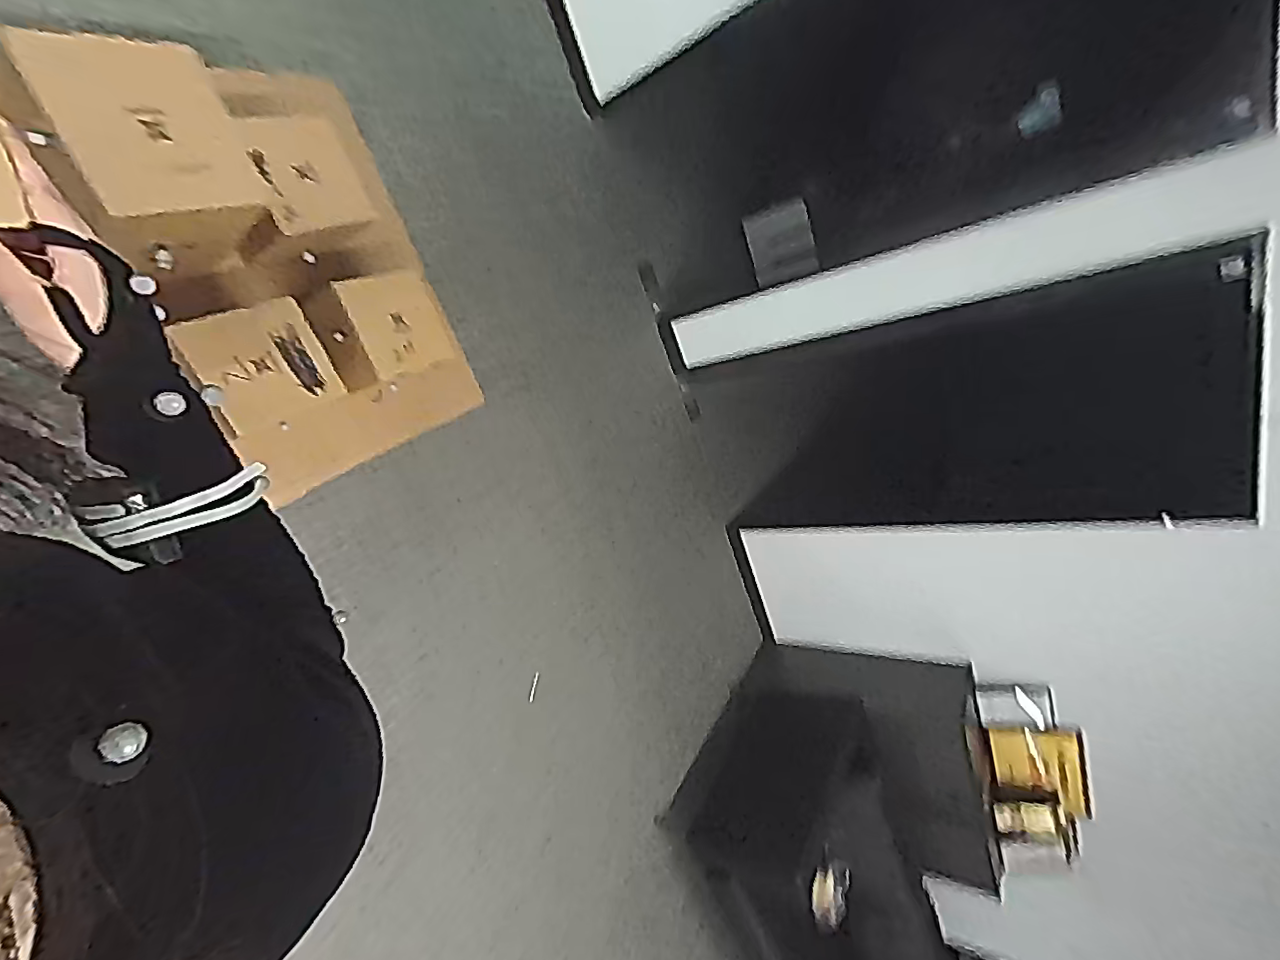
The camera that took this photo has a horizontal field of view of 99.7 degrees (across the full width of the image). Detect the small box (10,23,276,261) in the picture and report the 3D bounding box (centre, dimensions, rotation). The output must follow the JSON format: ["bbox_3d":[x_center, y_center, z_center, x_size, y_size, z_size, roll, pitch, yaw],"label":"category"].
[{"bbox_3d":[-0.586,-0.383,0.642,0.168,0.176,0.179,-37,115,-44],"label":"small box"}]

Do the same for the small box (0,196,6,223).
[{"bbox_3d":[-0.475,-0.218,0.266,0.168,0.176,0.179,-29,124,-45],"label":"small box"}]

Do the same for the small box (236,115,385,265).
[{"bbox_3d":[-0.582,-0.485,0.913,0.179,0.176,0.168,-43,117,-45],"label":"small box"}]
